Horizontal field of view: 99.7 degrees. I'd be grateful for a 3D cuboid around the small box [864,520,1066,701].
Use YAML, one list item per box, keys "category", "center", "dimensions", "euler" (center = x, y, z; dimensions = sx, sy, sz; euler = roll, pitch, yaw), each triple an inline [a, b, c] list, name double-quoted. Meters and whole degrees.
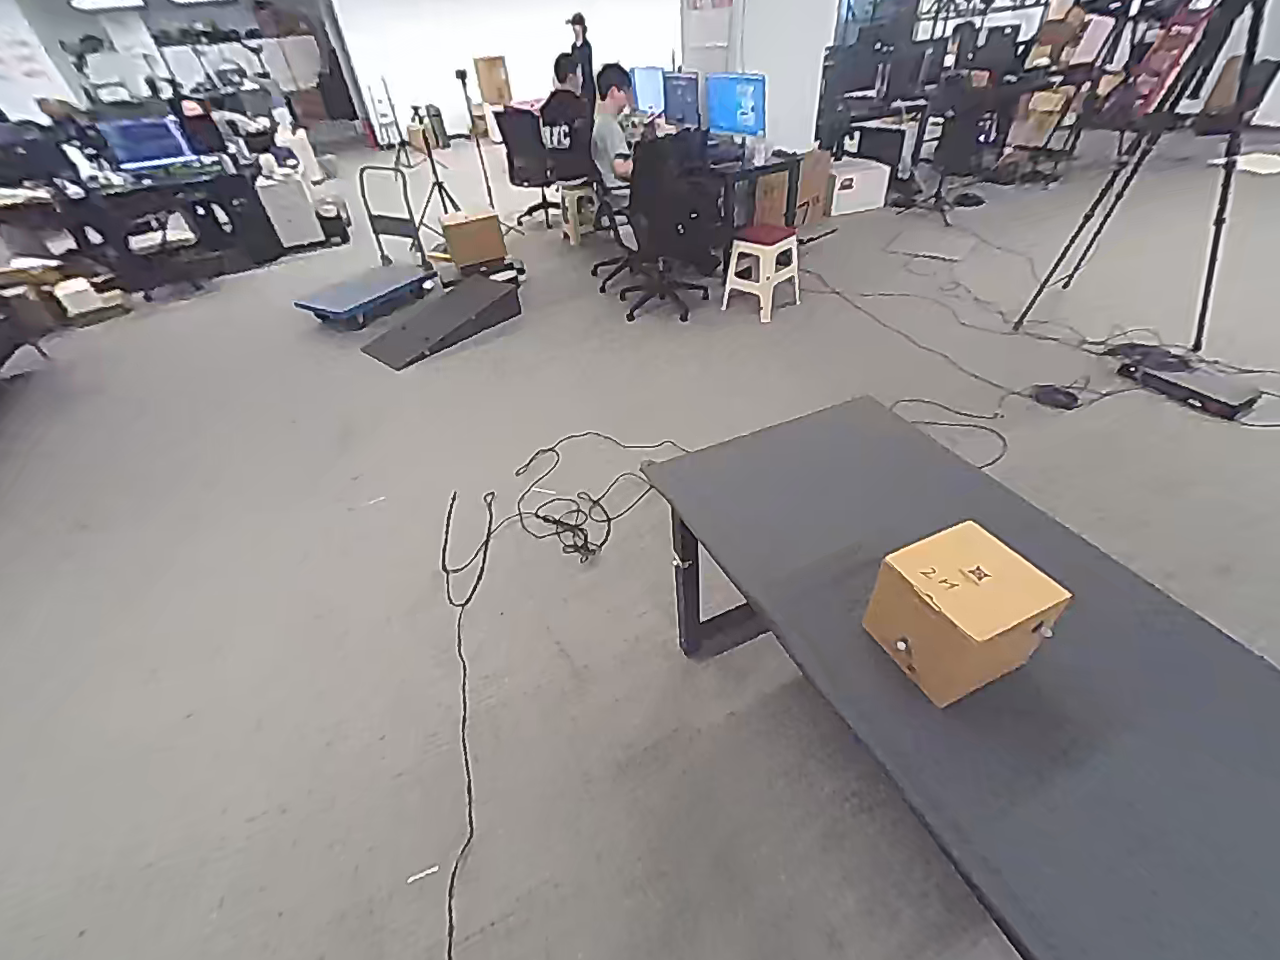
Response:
- category: "small box"
  center: [0.469, 0.195, 0.812]
  dimensions: [0.179, 0.176, 0.168]
  euler: [-18, 42, -16]
